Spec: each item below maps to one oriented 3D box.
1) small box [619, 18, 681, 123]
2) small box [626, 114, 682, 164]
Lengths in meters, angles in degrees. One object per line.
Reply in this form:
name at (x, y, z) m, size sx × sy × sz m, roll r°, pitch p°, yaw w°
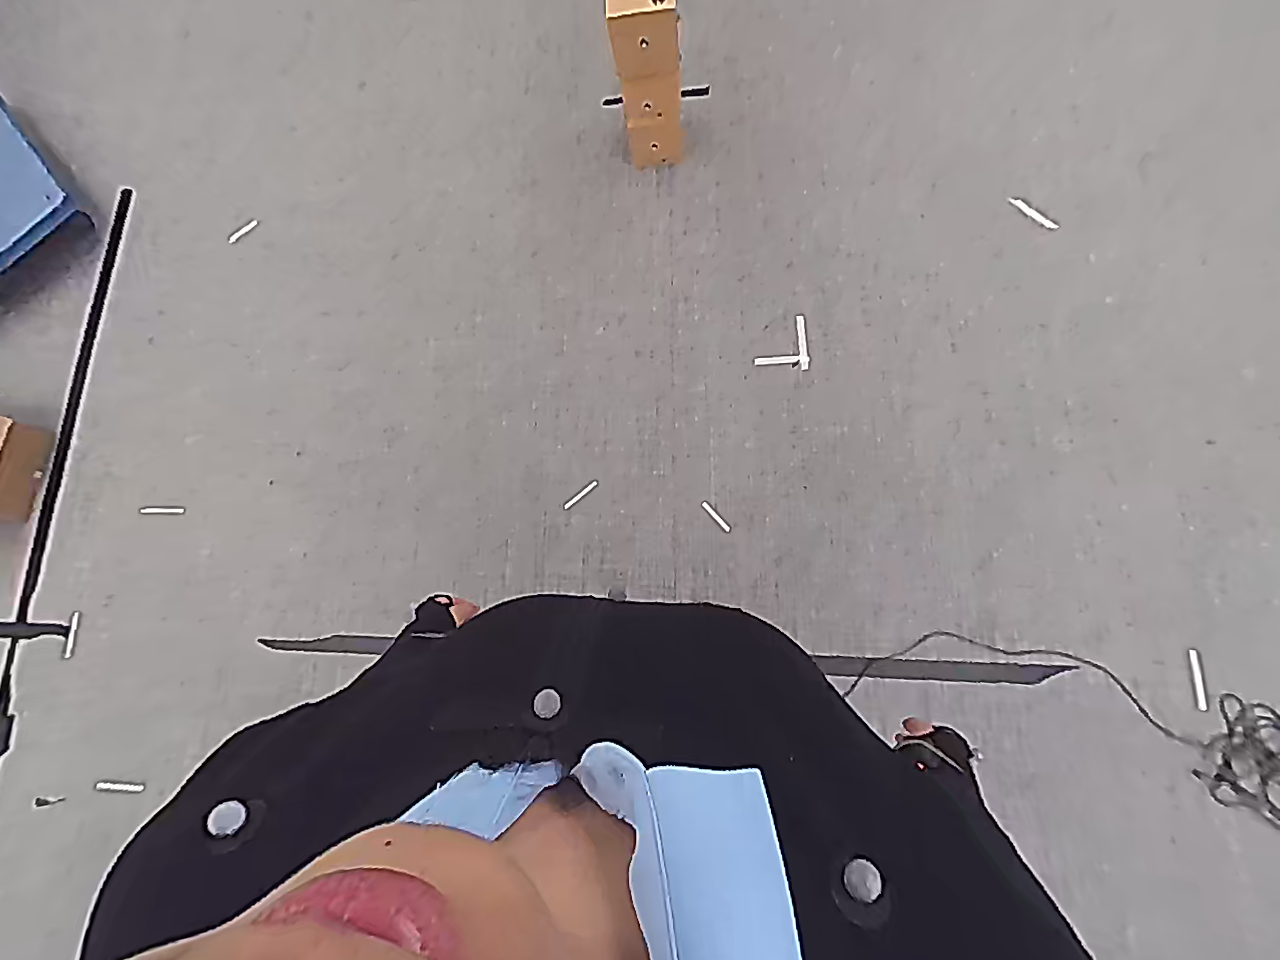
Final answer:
small box at (0.033, -1.184, 1.570) m, size 0.168 × 0.176 × 0.179 m, roll -1°, pitch 79°, yaw 7°
small box at (0.047, -1.140, 1.726) m, size 0.168 × 0.176 × 0.179 m, roll -3°, pitch 77°, yaw 6°
